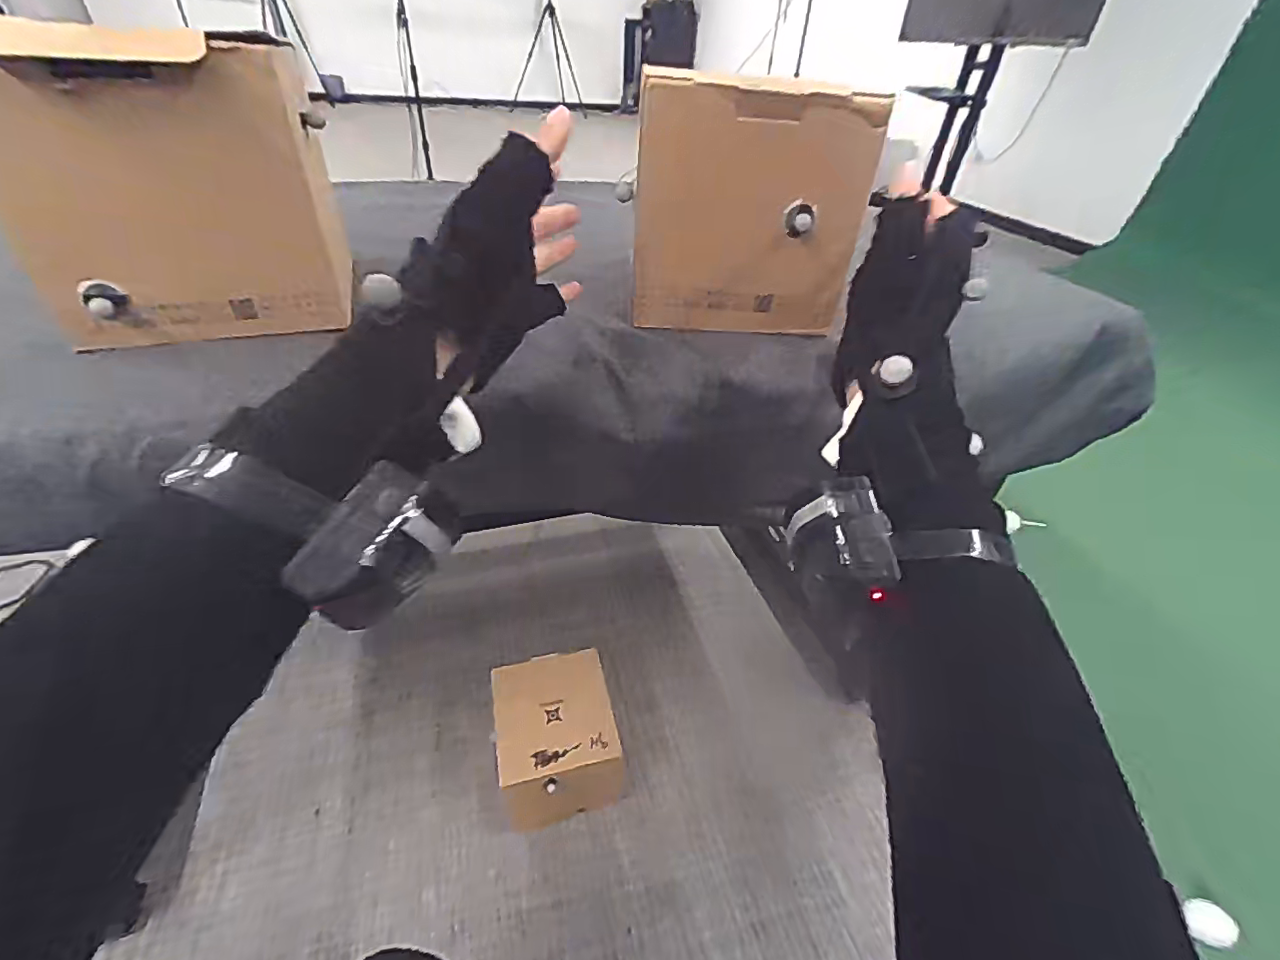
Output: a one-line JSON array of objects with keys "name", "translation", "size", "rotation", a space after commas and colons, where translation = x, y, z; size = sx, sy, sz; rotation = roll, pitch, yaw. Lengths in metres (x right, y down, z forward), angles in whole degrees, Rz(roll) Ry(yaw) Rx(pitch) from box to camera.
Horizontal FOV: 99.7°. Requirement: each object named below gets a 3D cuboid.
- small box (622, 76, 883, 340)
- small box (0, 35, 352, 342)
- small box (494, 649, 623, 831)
[{"name": "small box", "translation": [0.073, -0.231, 0.460], "size": [0.168, 0.176, 0.179], "rotation": [3, 38, -3]}, {"name": "small box", "translation": [-0.319, -0.207, 0.390], "size": [0.168, 0.176, 0.179], "rotation": [-11, 39, -19]}, {"name": "small box", "translation": [-0.128, 0.393, 0.828], "size": [0.168, 0.176, 0.179], "rotation": [-8, 39, -14]}]
